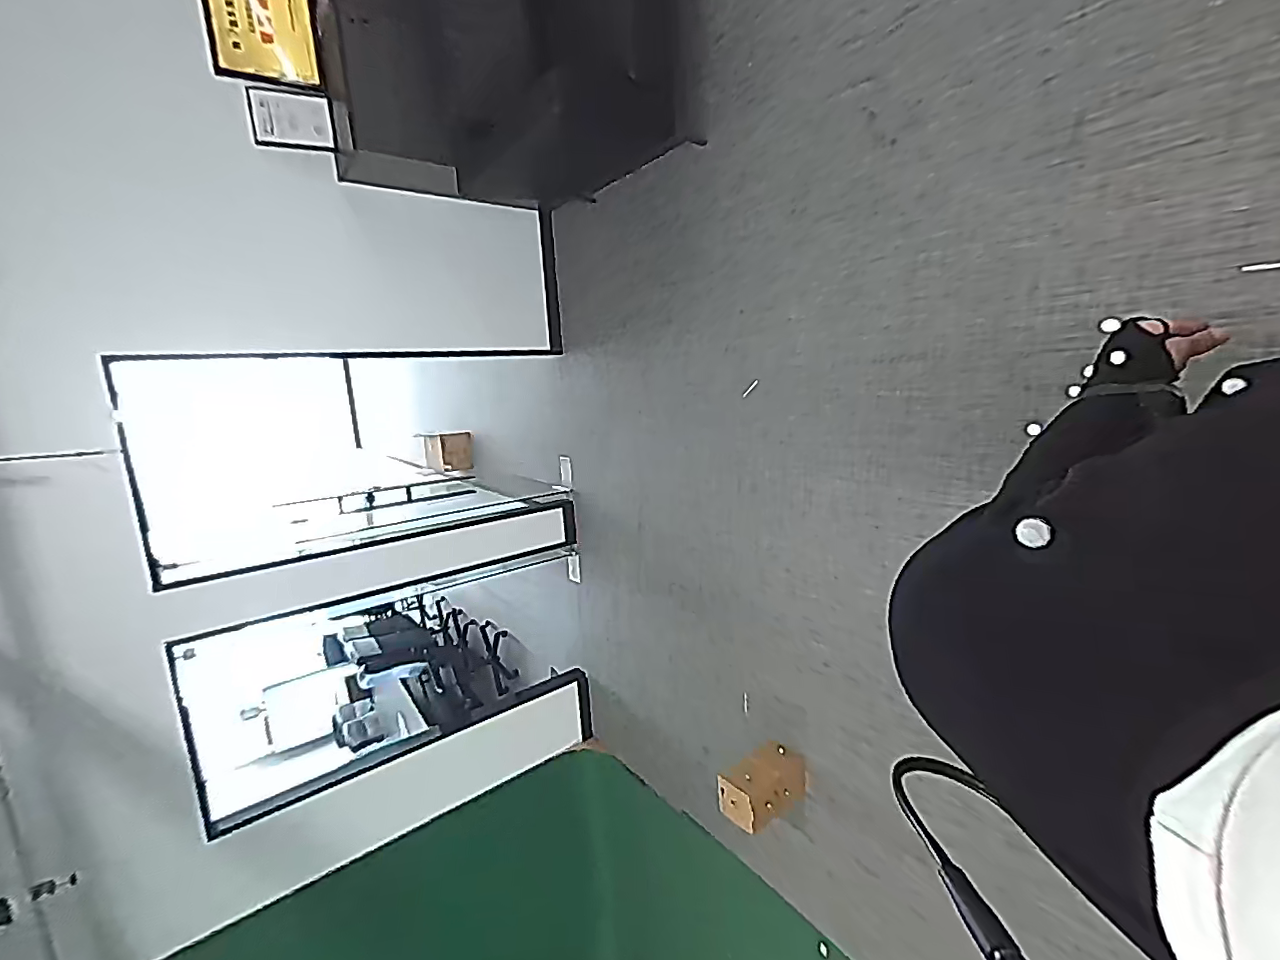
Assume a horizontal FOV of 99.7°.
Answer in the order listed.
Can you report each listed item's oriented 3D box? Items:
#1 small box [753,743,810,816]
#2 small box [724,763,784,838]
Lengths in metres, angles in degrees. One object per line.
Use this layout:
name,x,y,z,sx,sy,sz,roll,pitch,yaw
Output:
small box,0.588,1.234,2.241,0.168,0.176,0.179,9,105,52
small box,0.457,1.261,2.146,0.179,0.176,0.168,4,101,53
